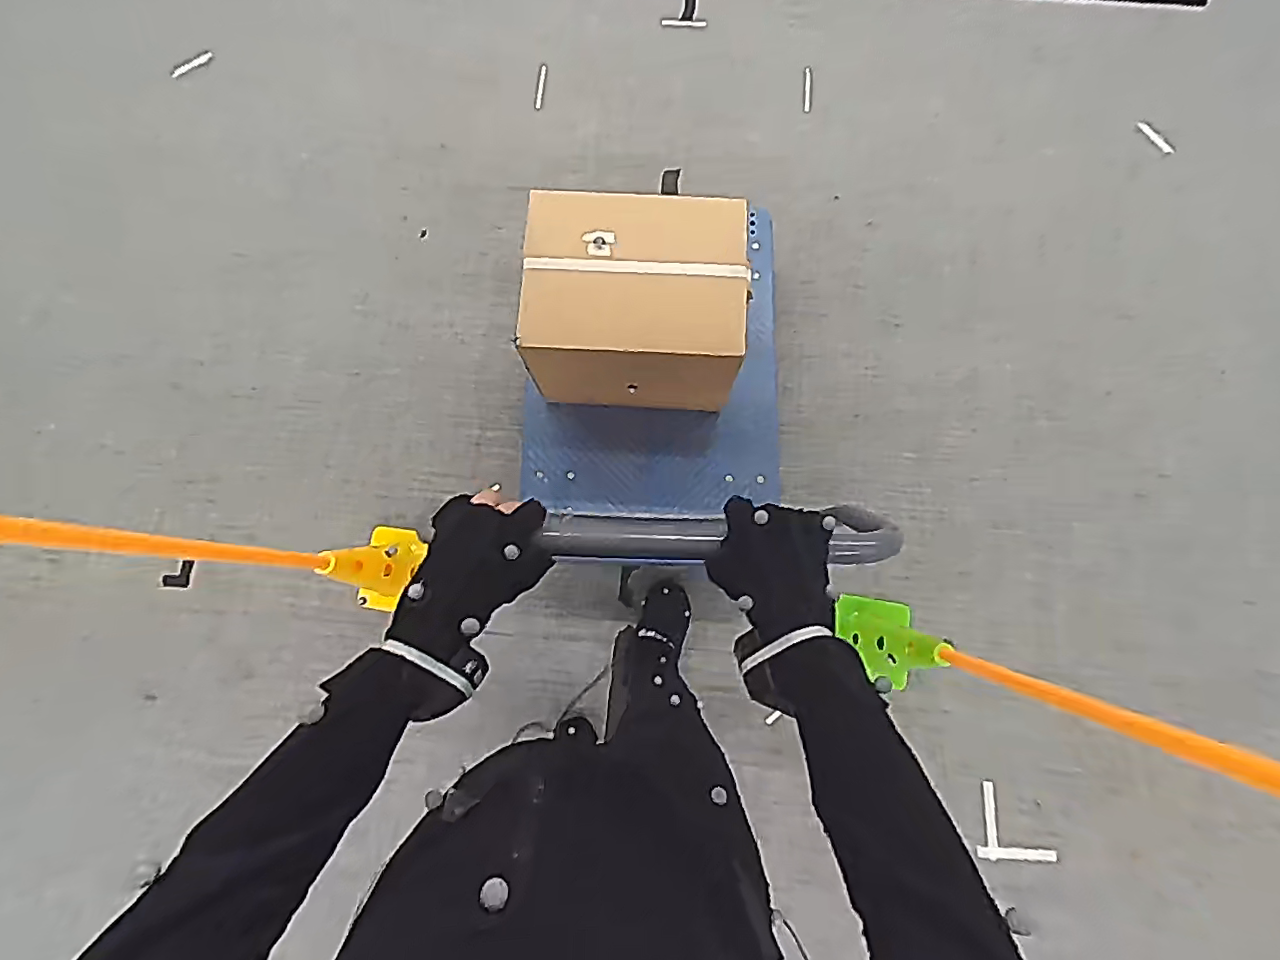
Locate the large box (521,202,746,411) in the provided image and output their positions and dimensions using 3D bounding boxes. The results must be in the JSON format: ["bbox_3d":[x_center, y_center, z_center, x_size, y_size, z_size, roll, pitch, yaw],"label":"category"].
[{"bbox_3d":[-0.002,-0.338,1.127,0.408,0.320,0.320,3,79,2],"label":"large box"}]

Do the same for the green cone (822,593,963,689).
[{"bbox_3d":[0.541,0.348,1.122,0.202,0.368,0.200,9,78,1],"label":"green cone"}]
